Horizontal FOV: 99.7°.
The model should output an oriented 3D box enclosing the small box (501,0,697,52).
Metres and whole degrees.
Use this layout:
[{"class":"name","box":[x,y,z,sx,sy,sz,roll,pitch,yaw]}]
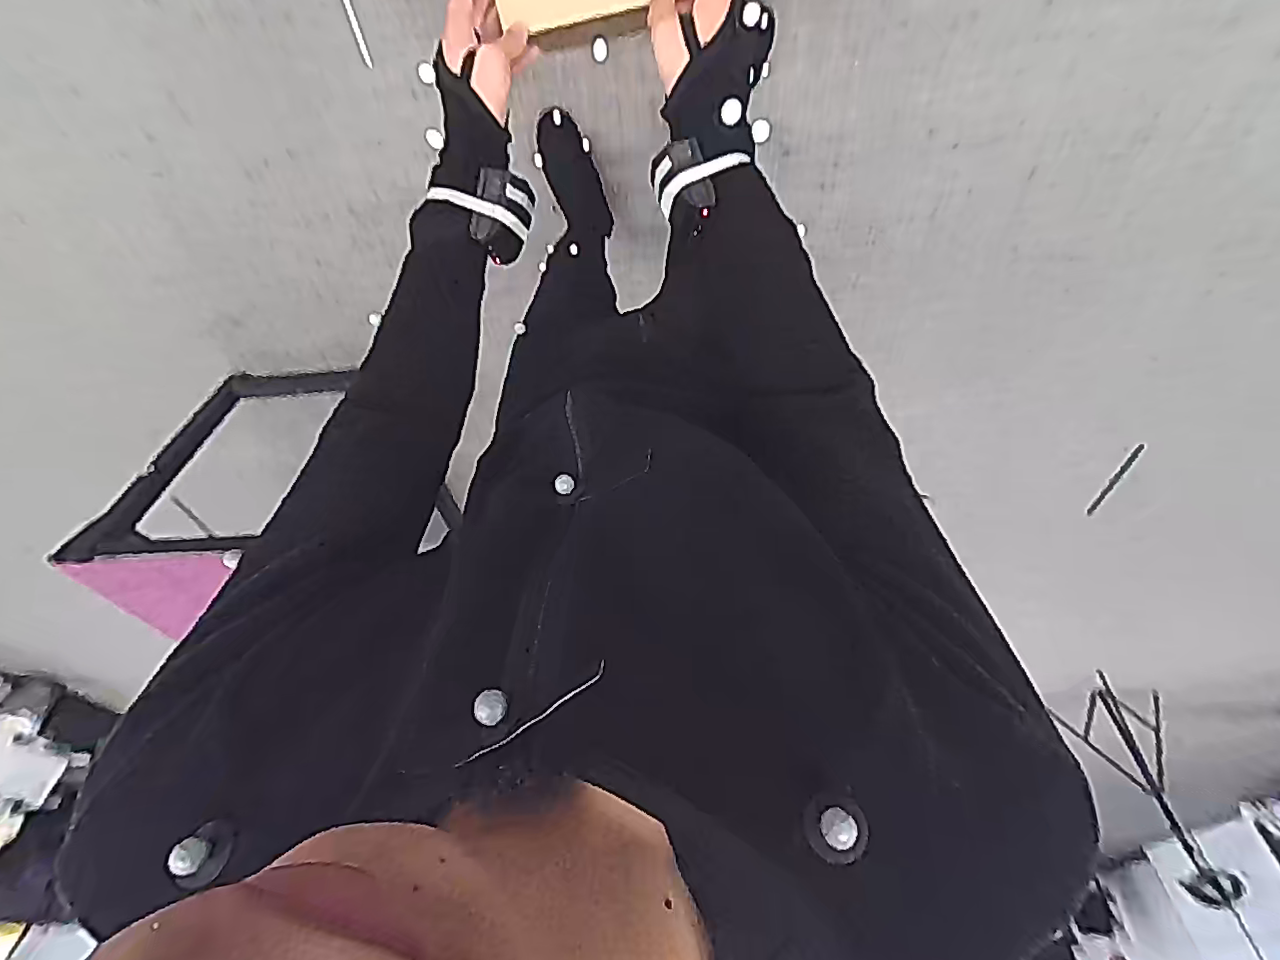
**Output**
[{"class":"small box","box":[-0.040,-0.506,0.472,0.168,0.176,0.179,-5,123,10]}]
